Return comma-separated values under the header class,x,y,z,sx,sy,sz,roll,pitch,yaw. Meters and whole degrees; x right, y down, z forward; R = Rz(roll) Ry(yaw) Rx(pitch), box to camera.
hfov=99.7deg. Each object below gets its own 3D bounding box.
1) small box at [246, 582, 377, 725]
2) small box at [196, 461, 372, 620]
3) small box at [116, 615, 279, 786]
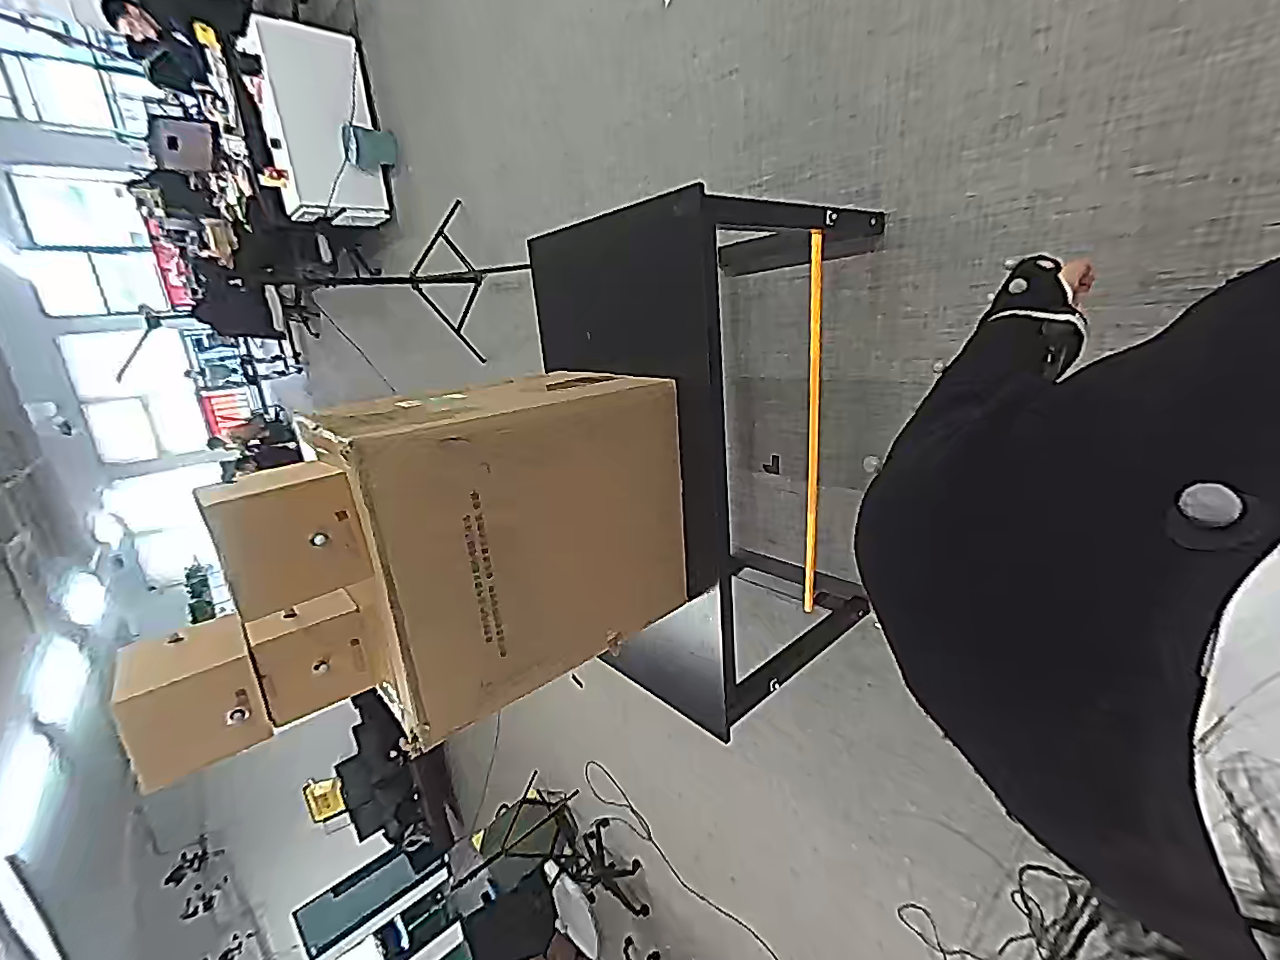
class,x,y,z,sx,sy,sz,roll,pitch,yaw
small box,-0.606,0.306,1.004,0.179,0.176,0.168,15,115,47
small box,-0.519,0.075,0.796,0.179,0.176,0.168,11,115,47
small box,-0.720,0.346,0.893,0.179,0.176,0.168,17,118,47
